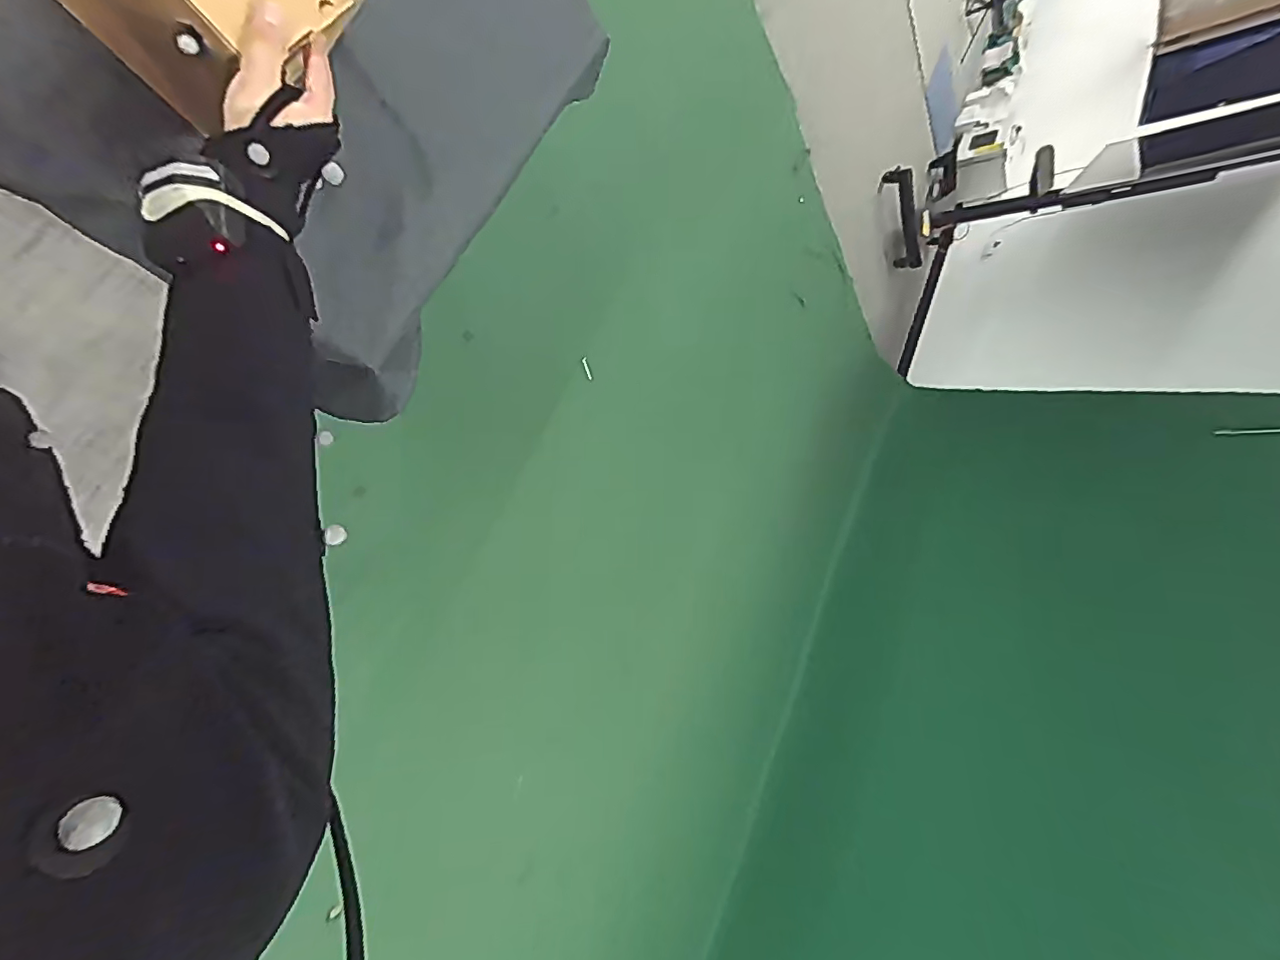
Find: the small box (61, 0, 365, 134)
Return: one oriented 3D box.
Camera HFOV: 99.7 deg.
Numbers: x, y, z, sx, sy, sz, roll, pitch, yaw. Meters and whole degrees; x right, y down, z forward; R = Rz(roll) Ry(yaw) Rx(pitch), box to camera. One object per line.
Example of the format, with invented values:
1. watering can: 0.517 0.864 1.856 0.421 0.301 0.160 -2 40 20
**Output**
1. small box: -0.340 -0.412 0.411 0.179 0.176 0.168 47 63 -42
